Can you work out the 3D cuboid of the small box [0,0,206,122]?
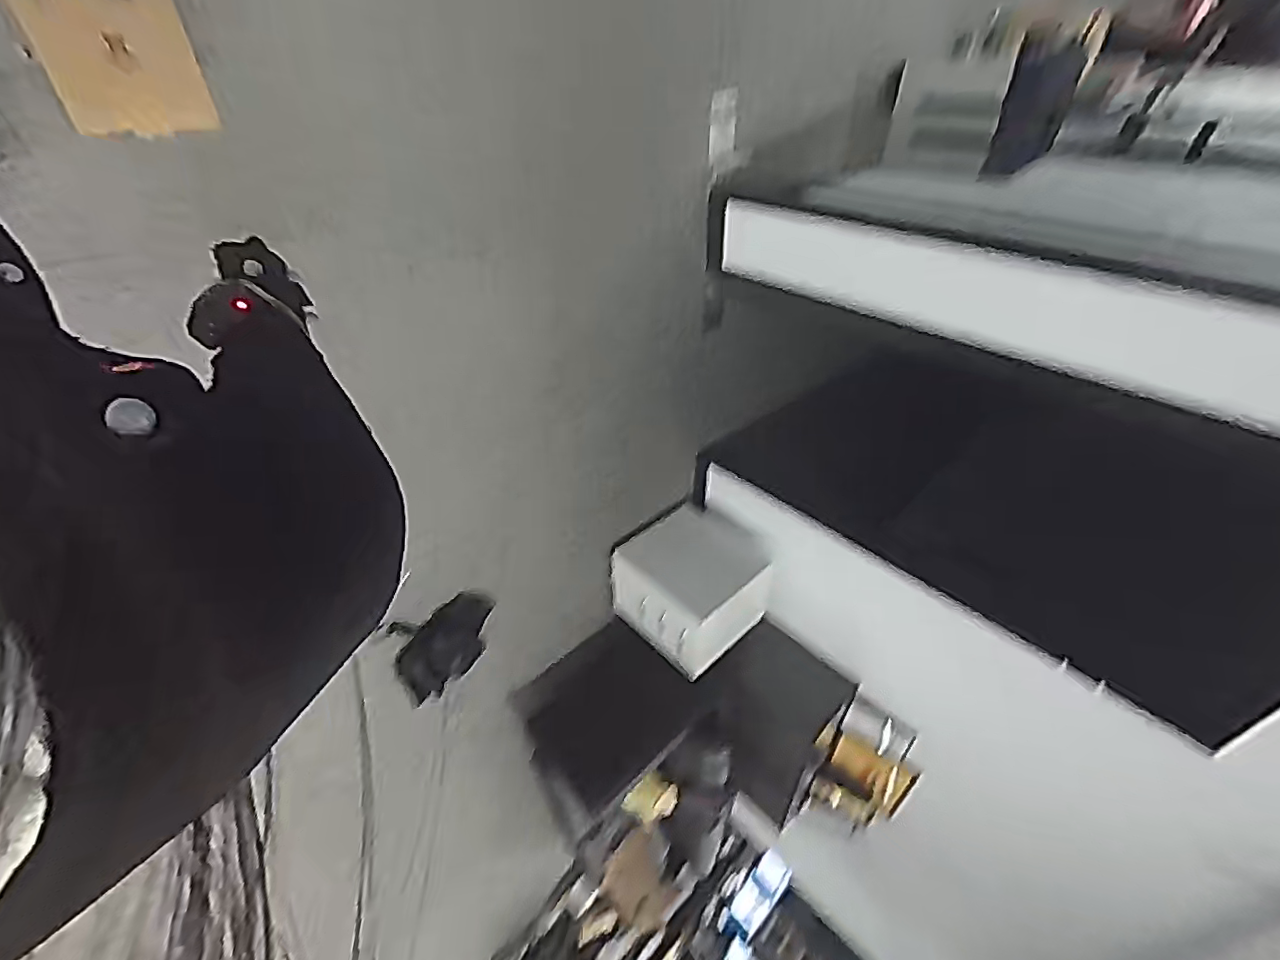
[{"bbox_3d":[-0.732,-0.596,0.727,0.168,0.176,0.179,-29,137,-34],"label":"small box"}]
